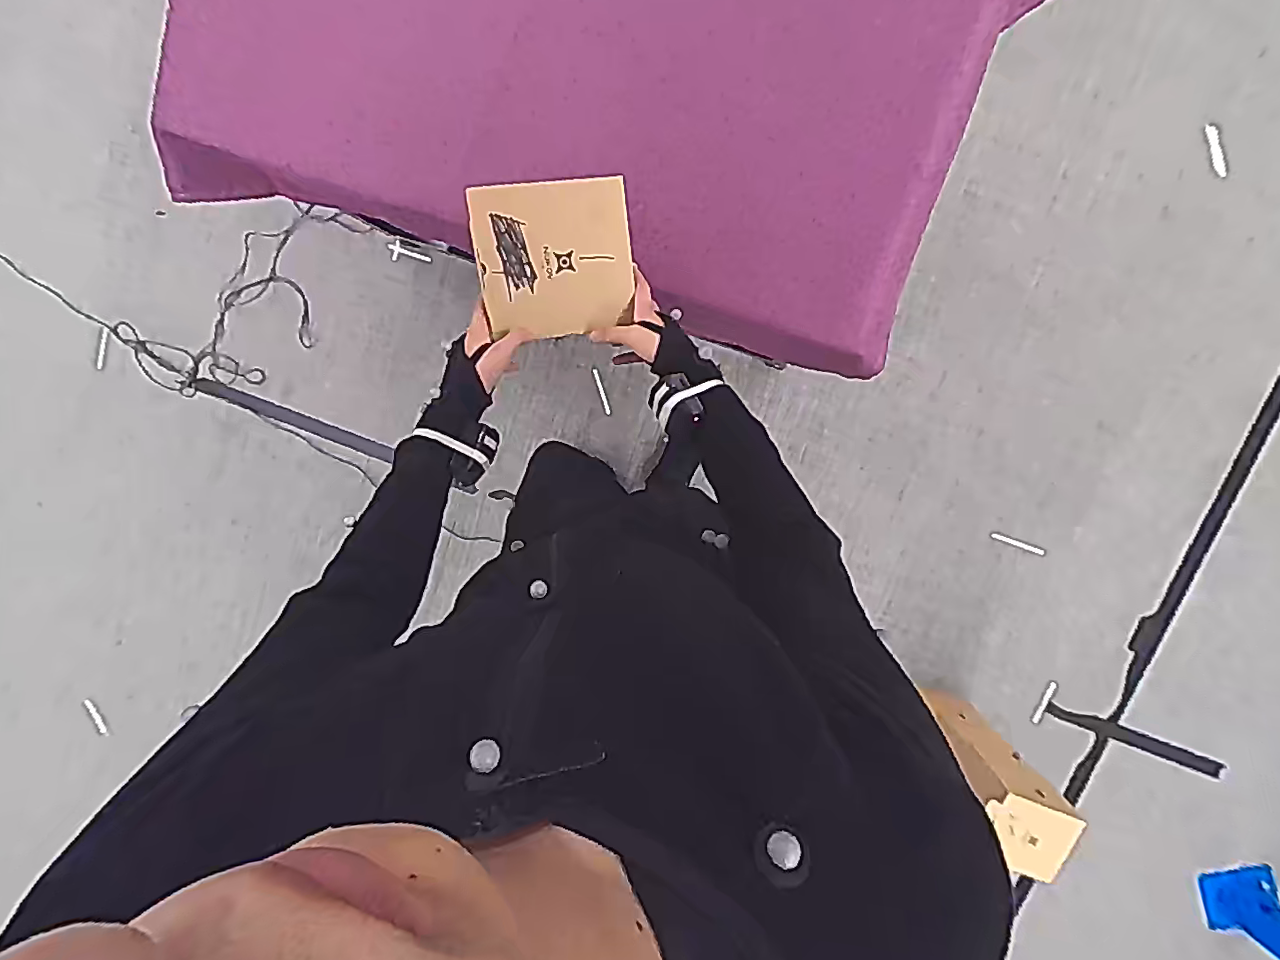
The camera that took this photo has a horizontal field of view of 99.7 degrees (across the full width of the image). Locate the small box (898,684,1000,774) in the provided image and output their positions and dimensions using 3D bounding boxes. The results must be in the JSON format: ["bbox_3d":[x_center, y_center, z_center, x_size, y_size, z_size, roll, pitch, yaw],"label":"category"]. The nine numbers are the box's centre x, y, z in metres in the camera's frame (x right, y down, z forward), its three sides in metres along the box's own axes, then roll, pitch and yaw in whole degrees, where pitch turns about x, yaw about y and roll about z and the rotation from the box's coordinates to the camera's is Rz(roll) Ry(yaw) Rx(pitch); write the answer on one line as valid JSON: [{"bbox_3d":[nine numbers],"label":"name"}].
[{"bbox_3d":[0.875,0.713,1.551,0.179,0.176,0.168,16,100,3],"label":"small box"}]

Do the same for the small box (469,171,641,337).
[{"bbox_3d":[-0.100,-0.274,0.688,0.179,0.176,0.168,-8,107,-4],"label":"small box"}]

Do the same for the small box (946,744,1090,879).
[{"bbox_3d":[0.840,0.737,1.223,0.179,0.176,0.168,21,101,3],"label":"small box"}]
